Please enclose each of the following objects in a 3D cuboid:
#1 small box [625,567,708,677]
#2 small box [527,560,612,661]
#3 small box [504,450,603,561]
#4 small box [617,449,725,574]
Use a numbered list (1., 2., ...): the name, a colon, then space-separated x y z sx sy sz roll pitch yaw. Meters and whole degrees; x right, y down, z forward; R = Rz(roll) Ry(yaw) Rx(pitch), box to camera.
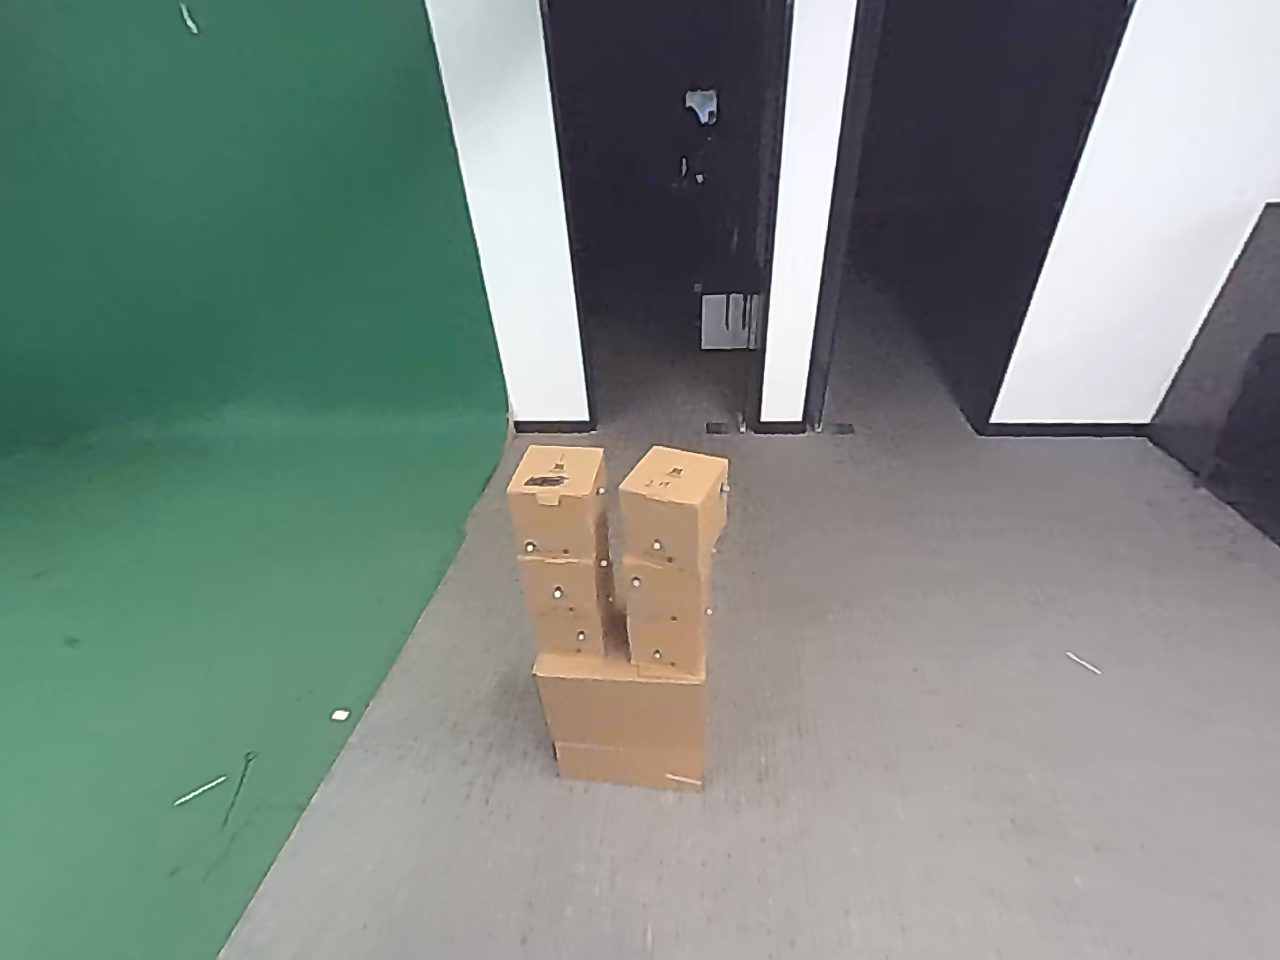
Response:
1. small box: 0.068 0.335 1.288 0.168 0.176 0.179 4 35 13
2. small box: -0.163 0.322 1.332 0.168 0.176 0.179 4 35 7
3. small box: -0.172 0.053 1.143 0.168 0.176 0.179 3 34 5
4. small box: 0.067 0.061 1.104 0.168 0.176 0.179 12 37 23
